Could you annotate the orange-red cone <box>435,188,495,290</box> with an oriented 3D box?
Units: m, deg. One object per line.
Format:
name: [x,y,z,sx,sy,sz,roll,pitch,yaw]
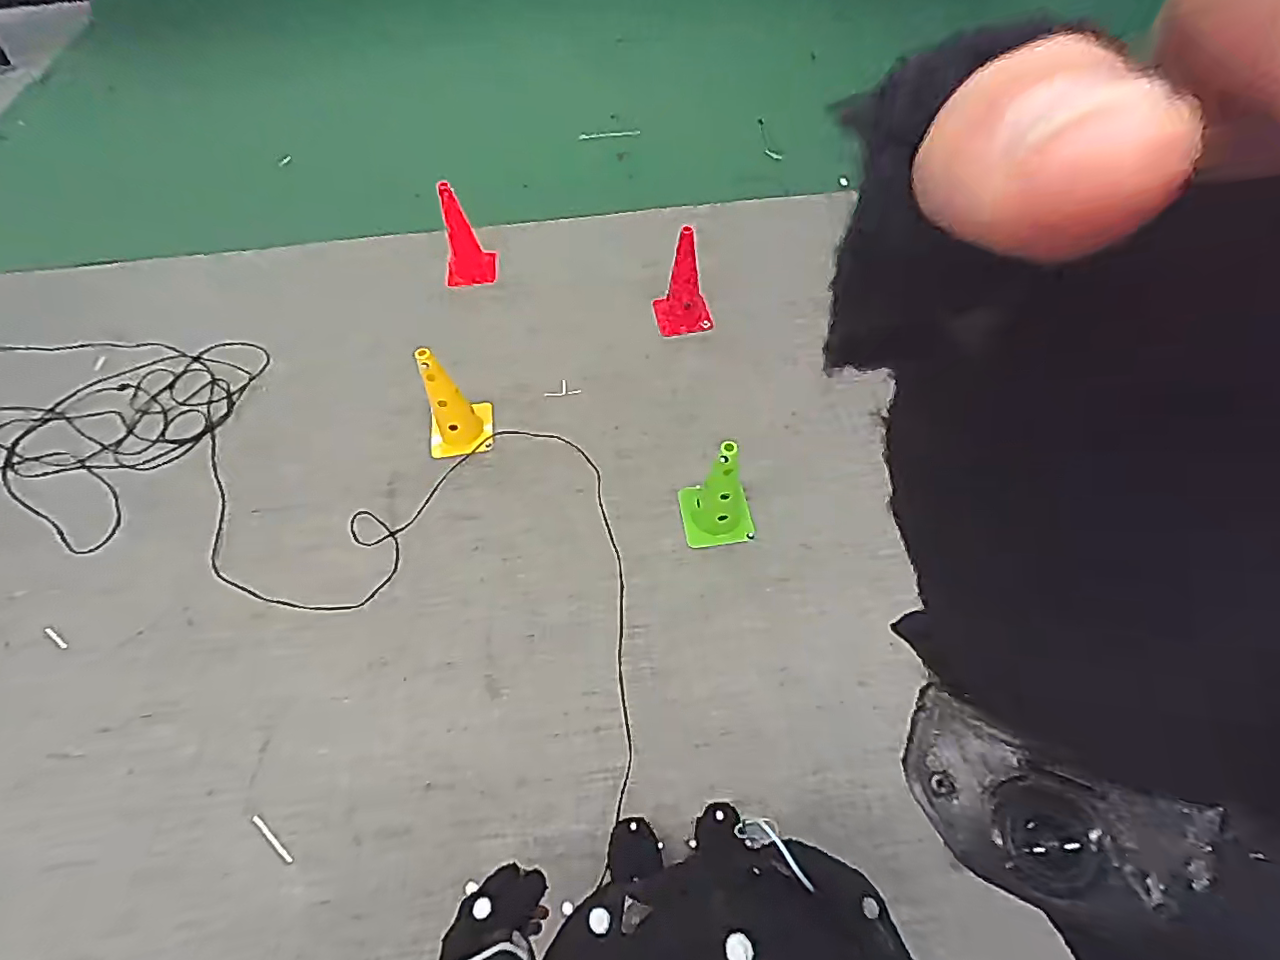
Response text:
orange-red cone: [-0.702,-0.938,2.070,0.198,0.360,0.199,-7,60,-1]

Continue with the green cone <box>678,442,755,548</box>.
green cone: [0.216,0.011,1.460,0.202,0.368,0.200,-9,58,-2]

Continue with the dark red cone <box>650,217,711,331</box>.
dark red cone: [0.144,-0.722,1.878,0.202,0.394,0.201,-12,58,-5]
